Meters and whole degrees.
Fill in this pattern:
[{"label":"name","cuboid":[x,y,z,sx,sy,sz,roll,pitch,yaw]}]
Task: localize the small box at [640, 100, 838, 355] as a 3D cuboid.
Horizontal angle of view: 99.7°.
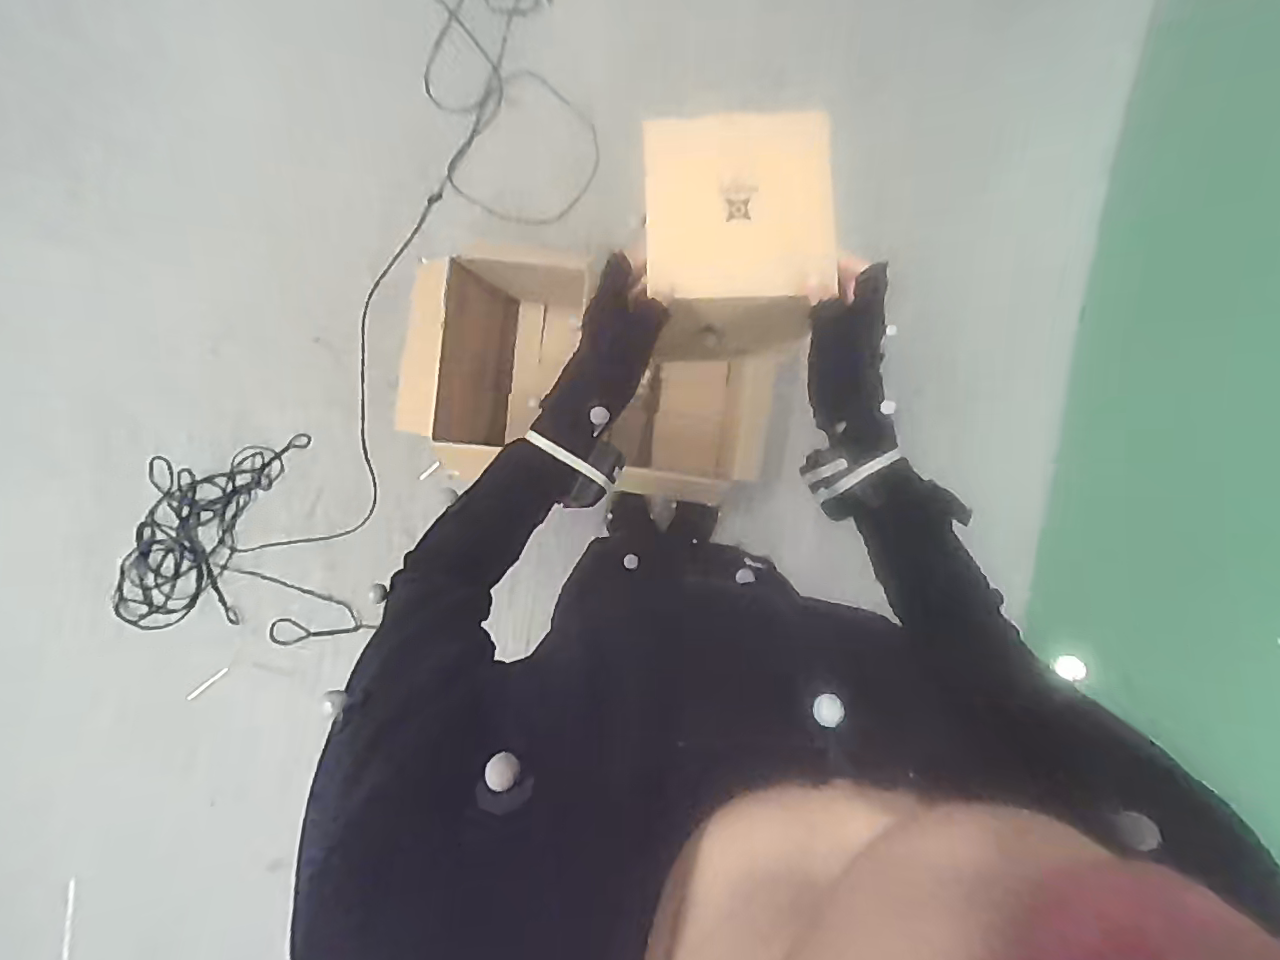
[{"label":"small box","cuboid":[0.086,-0.231,0.539,0.168,0.176,0.179,-1,83,2]}]
